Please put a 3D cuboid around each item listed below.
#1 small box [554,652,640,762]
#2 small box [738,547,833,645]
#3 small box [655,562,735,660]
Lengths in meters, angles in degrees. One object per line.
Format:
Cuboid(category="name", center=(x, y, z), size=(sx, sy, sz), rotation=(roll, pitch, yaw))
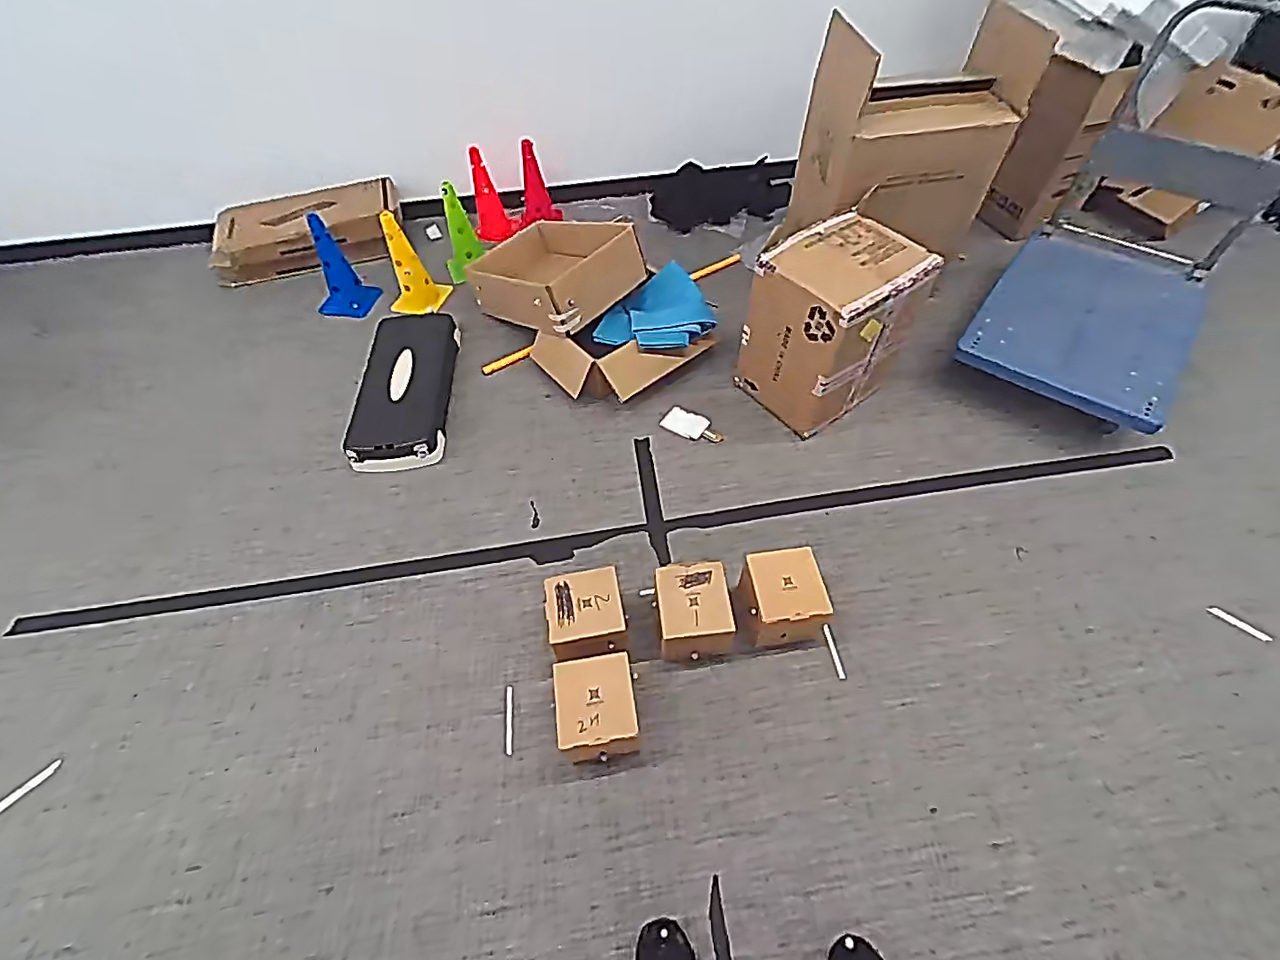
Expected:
Cuboid(category="small box", center=(-0.093, 0.502, 1.191), size=(0.168, 0.176, 0.179), rotation=(-9, 55, -3))
Cuboid(category="small box", center=(0.349, 0.288, 1.334), size=(0.168, 0.176, 0.179), rotation=(-7, 55, -4))
Cuboid(category="small box", center=(0.125, 0.321, 1.315), size=(0.168, 0.176, 0.179), rotation=(-6, 55, -2))
